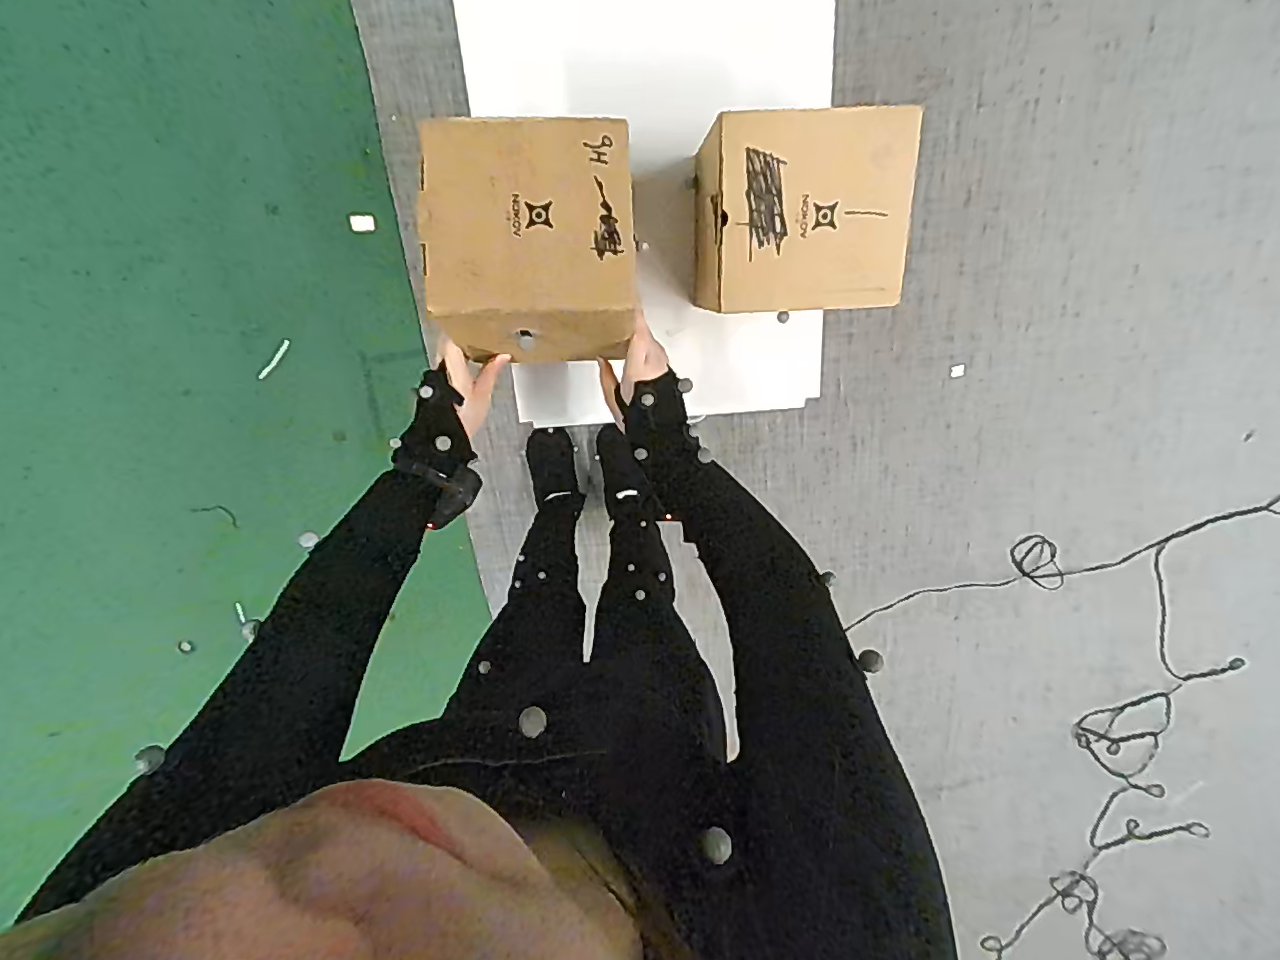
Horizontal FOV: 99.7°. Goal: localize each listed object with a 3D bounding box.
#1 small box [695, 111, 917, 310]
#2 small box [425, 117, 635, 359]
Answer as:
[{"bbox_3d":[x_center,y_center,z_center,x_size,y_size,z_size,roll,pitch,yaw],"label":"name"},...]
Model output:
[{"bbox_3d":[0.153,-0.267,0.568,0.179,0.176,0.168,-3,110,-2],"label":"small box"},{"bbox_3d":[-0.096,-0.221,0.535,0.179,0.176,0.168,-2,88,-4],"label":"small box"}]
